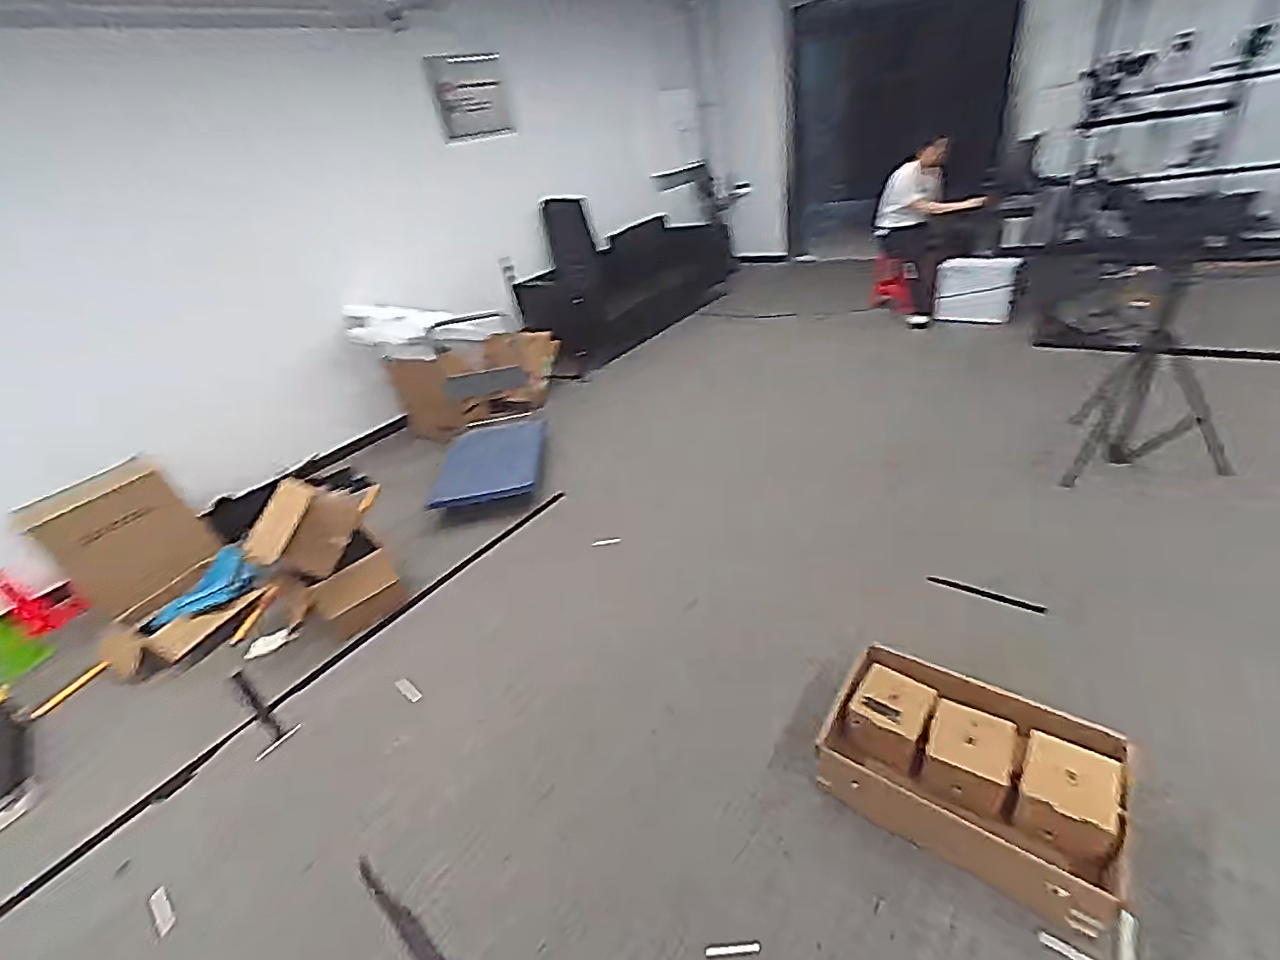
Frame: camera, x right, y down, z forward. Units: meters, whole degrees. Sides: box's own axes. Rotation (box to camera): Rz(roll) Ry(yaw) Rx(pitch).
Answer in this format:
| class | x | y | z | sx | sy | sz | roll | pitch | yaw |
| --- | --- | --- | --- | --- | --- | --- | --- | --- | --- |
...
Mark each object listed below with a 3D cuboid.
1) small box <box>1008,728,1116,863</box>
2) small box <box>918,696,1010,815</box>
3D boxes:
| class | x | y | z | sx | sy | sz | roll | pitch | yaw |
| --- | --- | --- | --- | --- | --- | --- | --- | --- | --- |
| small box | 0.969 | 0.725 | 1.249 | 0.168 | 0.176 | 0.179 | 12 | 40 | 37 |
| small box | 0.808 | 0.691 | 1.356 | 0.168 | 0.176 | 0.179 | 13 | 39 | 32 |
